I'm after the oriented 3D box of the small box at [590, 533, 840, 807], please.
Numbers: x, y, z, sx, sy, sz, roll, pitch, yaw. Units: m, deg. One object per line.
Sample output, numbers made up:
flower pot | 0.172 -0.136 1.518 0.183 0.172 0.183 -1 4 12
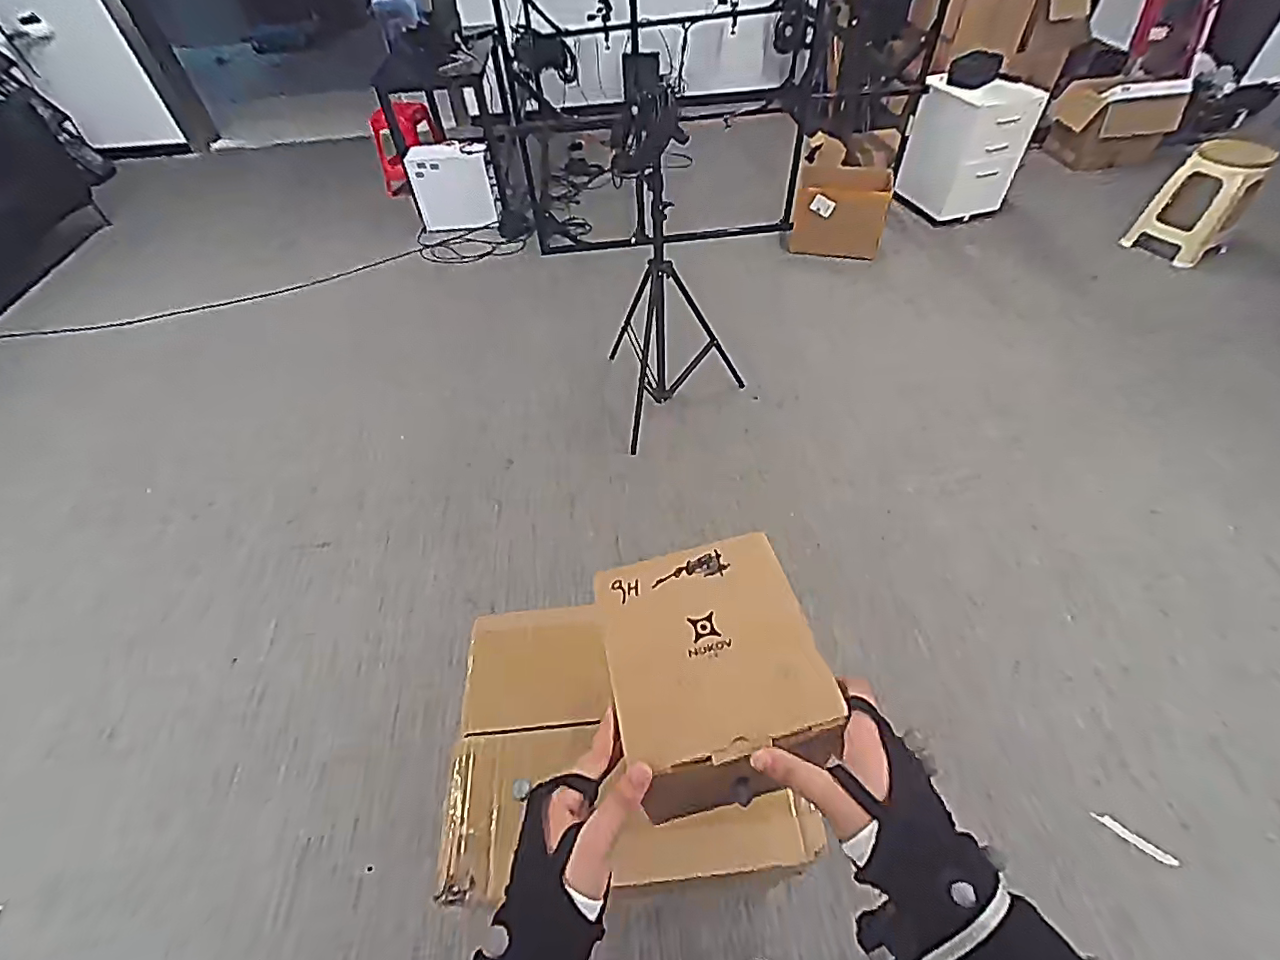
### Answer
small box | 0.061 0.182 0.500 0.168 0.176 0.179 -14 49 -3
